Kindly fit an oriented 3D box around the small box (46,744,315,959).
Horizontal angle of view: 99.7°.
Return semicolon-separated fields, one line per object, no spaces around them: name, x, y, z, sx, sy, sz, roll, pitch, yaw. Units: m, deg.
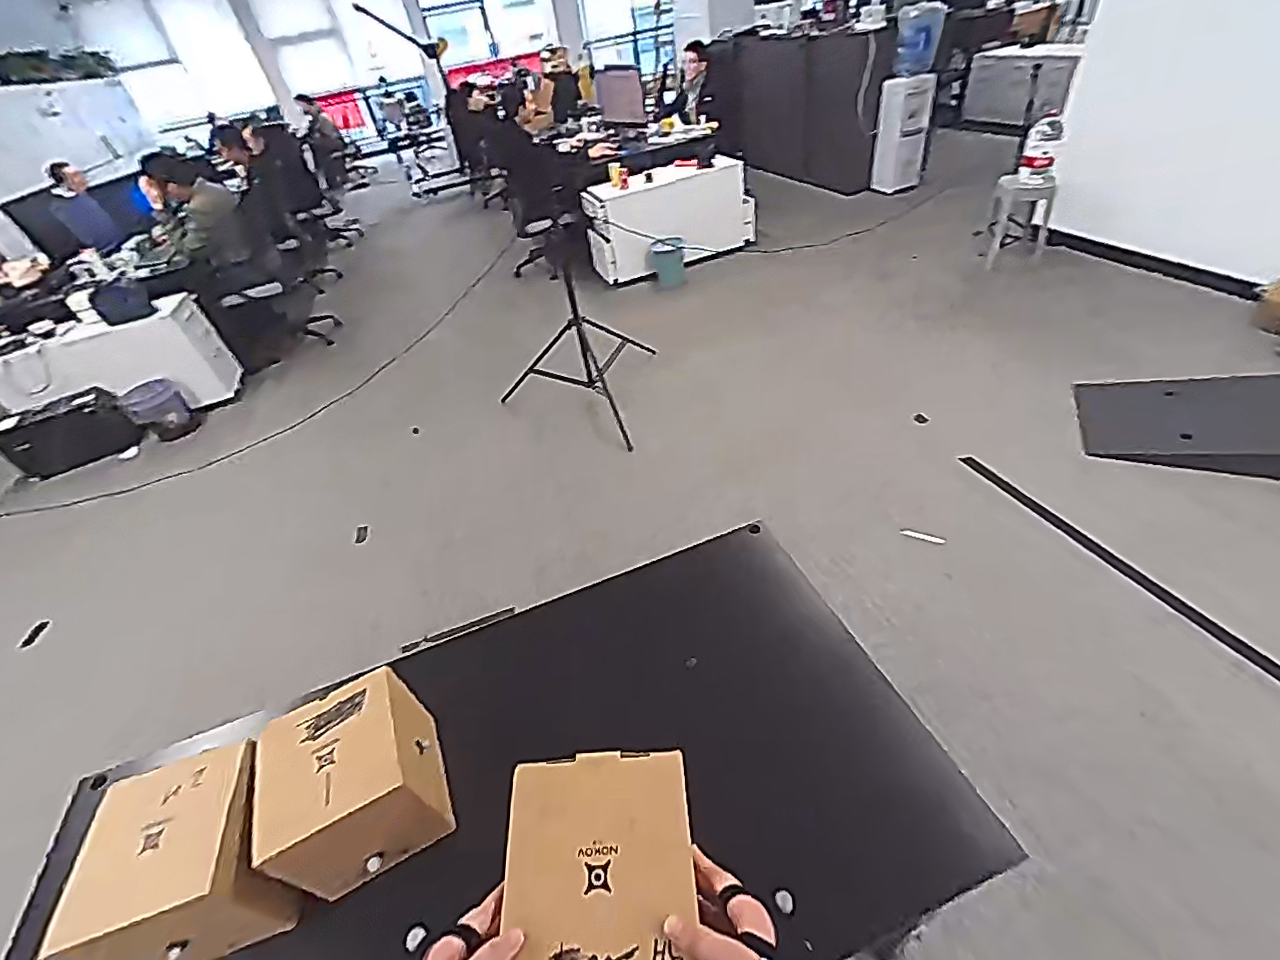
small box;-0.534;0.470;0.666;0.168;0.176;0.179;-18;40;-8

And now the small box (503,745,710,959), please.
small box;-0.024;0.383;0.526;0.168;0.176;0.179;-6;45;1
